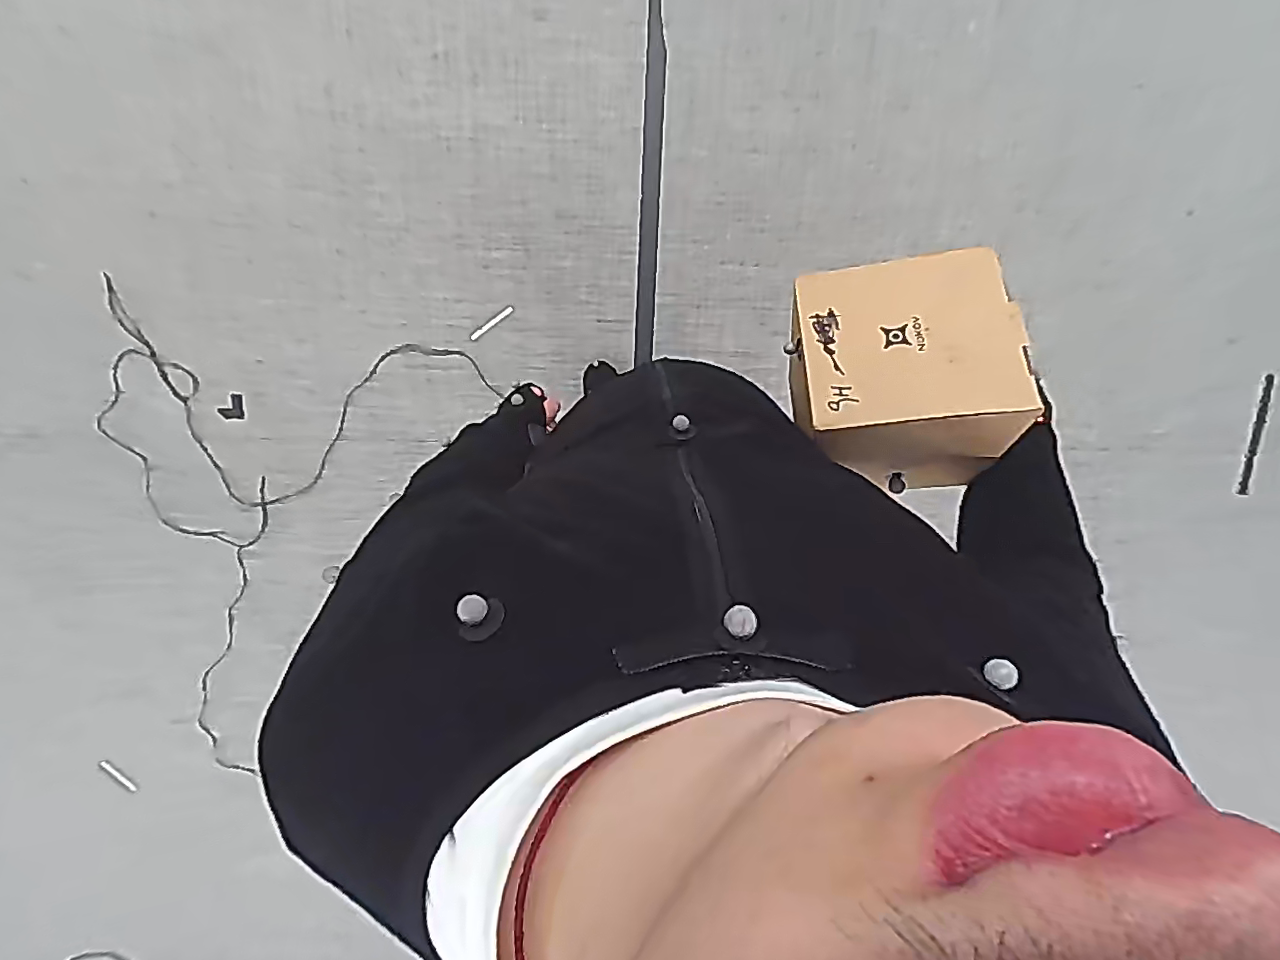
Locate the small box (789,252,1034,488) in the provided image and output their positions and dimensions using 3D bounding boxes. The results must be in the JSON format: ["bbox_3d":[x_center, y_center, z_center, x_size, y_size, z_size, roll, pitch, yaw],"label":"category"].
[{"bbox_3d":[0.254,-0.099,0.556,0.179,0.176,0.168,-4,67,12],"label":"small box"}]
